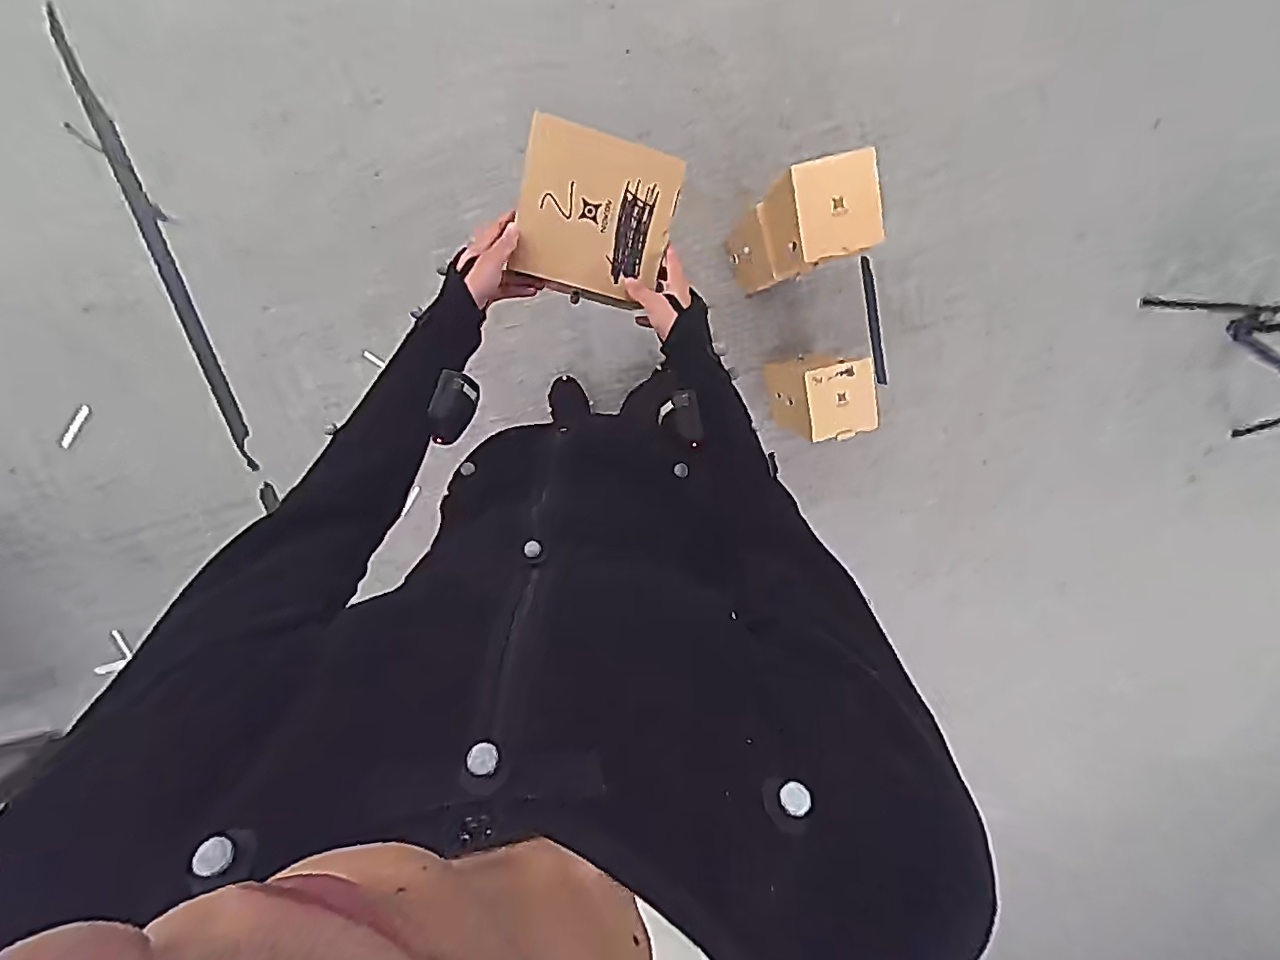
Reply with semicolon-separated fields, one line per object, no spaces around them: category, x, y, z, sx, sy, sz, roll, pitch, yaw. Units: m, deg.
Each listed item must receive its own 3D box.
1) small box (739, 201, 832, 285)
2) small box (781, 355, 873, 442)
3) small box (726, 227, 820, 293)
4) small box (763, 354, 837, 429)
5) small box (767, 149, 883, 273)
small box;0.351;-0.569;1.266;0.179;0.176;0.168;-18;105;1
small box;0.470;-0.213;1.373;0.168;0.176;0.179;-12;107;-1
small box;0.345;-0.606;1.426;0.179;0.176;0.168;-20;106;1
small box;0.457;-0.257;1.531;0.168;0.176;0.179;-13;107;0
small box;0.370;-0.540;1.107;0.168;0.176;0.179;-13;106;-1
